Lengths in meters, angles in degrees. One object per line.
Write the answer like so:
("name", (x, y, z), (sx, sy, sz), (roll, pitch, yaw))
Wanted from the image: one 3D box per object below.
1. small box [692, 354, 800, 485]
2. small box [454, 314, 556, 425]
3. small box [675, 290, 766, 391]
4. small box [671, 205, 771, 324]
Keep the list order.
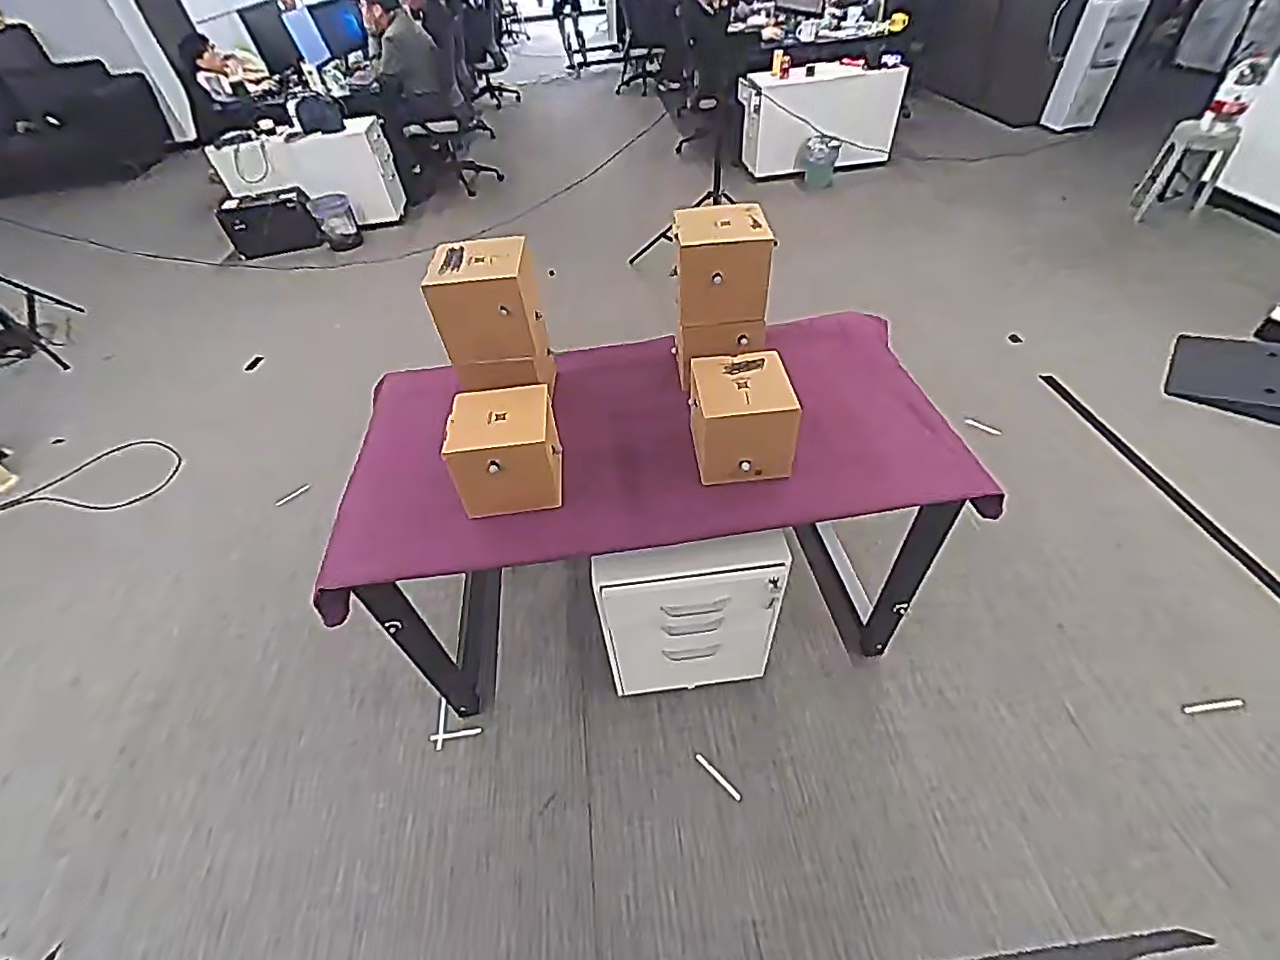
("small box", (0.188, -0.114, 1.019), (0.168, 0.176, 0.179), (-6, 46, 1))
("small box", (-0.285, -0.241, 1.189), (0.168, 0.176, 0.179), (-5, 49, 3))
("small box", (0.172, -0.320, 1.214), (0.179, 0.176, 0.168), (-5, 47, 1))
("small box", (0.159, -0.432, 1.095), (0.179, 0.176, 0.168), (-5, 48, 2))
